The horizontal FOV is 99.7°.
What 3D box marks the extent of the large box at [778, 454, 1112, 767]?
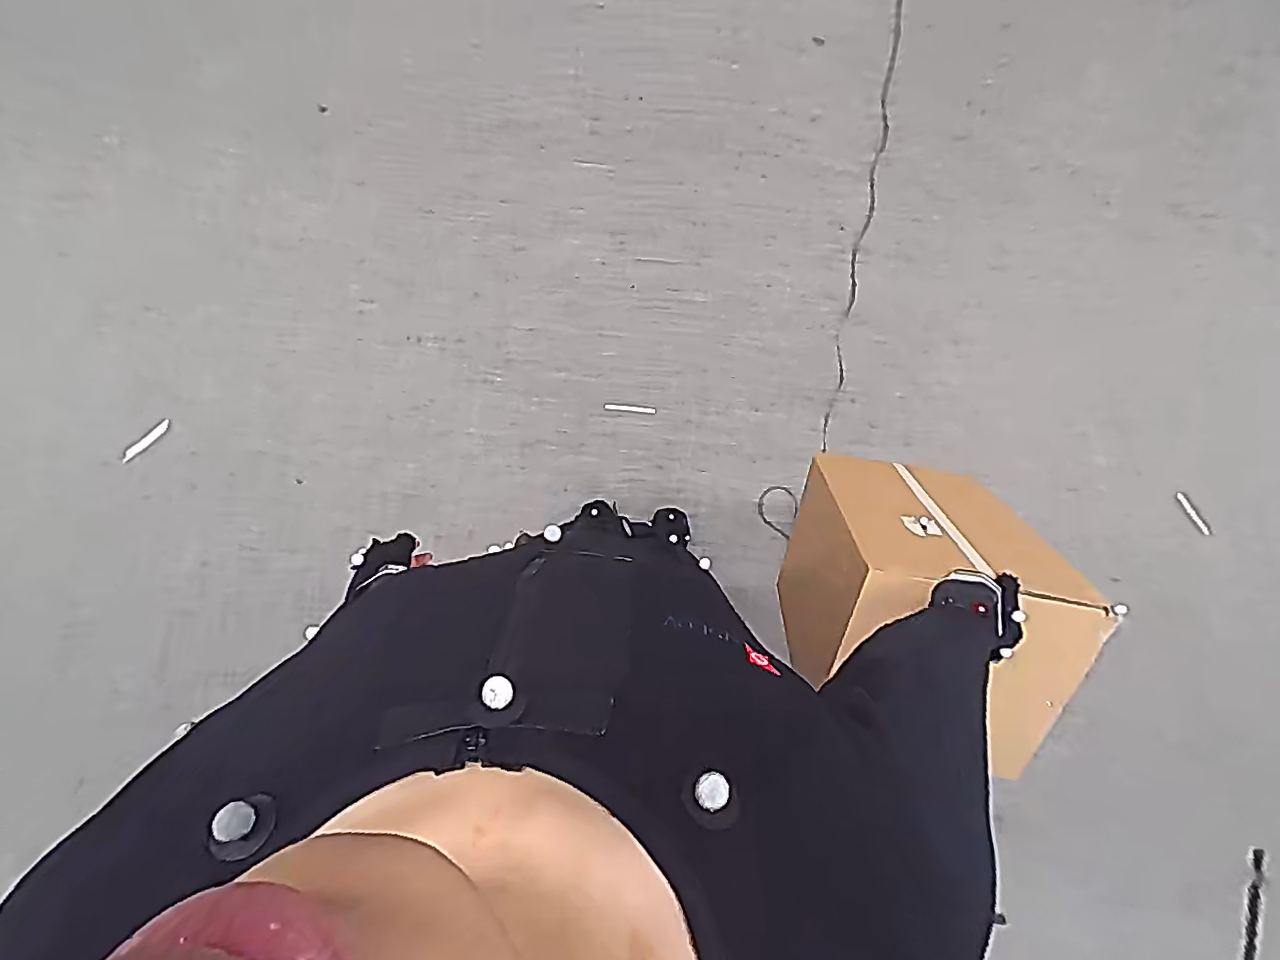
[{"bbox_3d":[0.447,0.193,0.929,0.320,0.408,0.320,9,116,3],"label":"large box"}]
